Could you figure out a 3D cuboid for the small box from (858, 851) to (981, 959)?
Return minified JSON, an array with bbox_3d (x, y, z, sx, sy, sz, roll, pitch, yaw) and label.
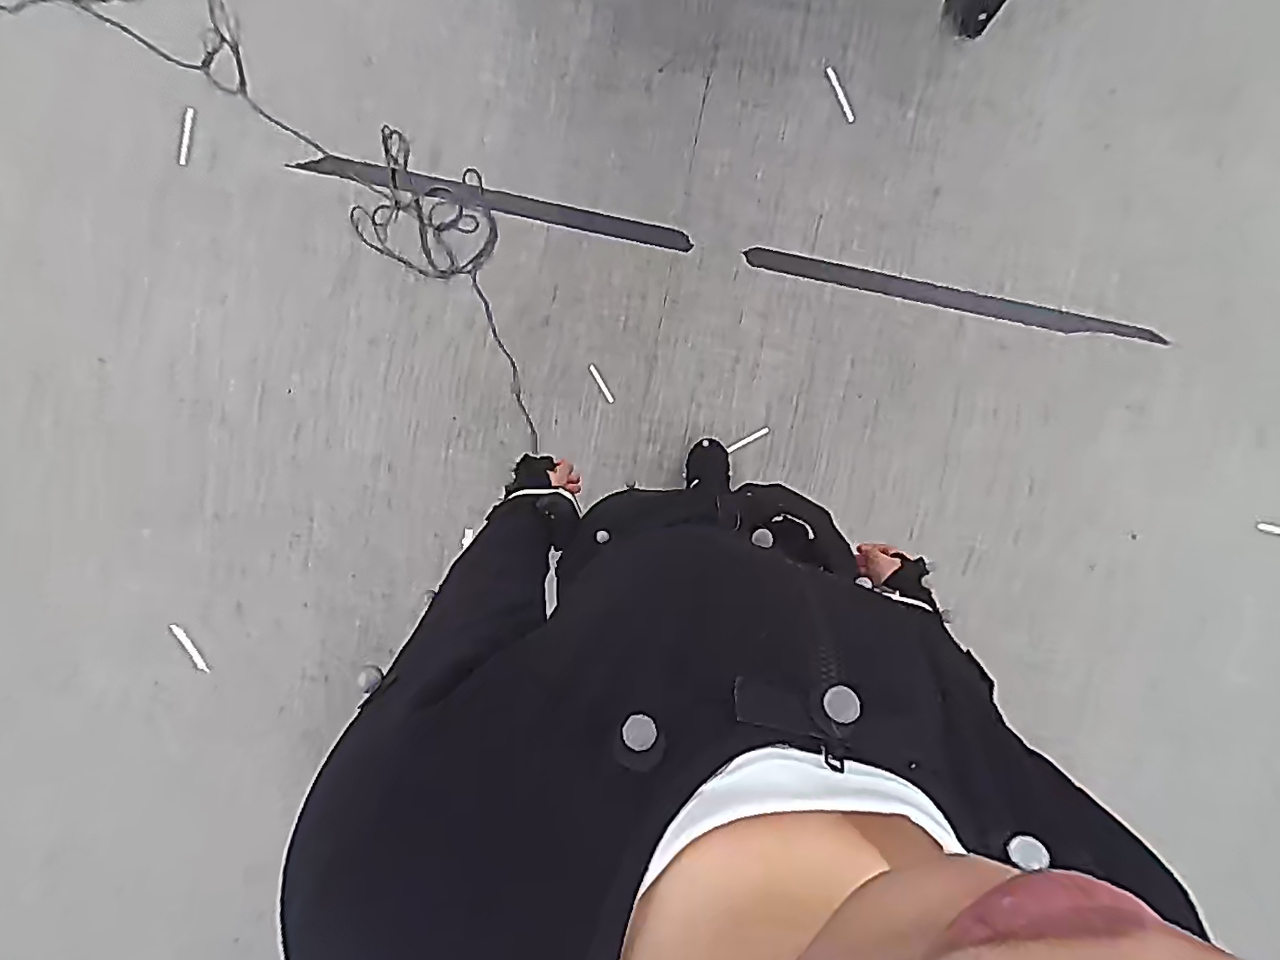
[{"bbox_3d":[0.590,0.955,1.166,0.168,0.176,0.179,10,93,1],"label":"small box"}]
